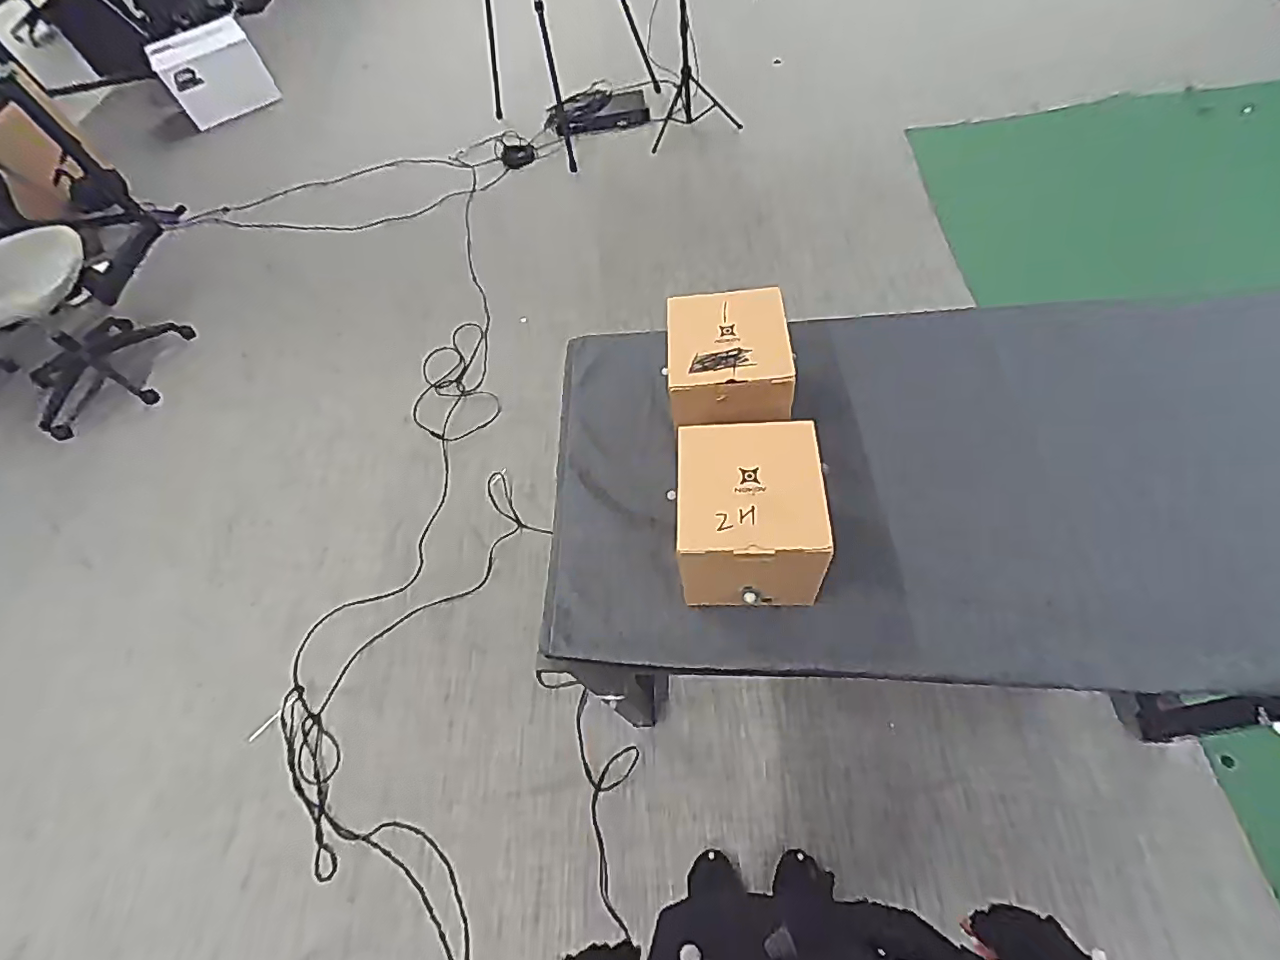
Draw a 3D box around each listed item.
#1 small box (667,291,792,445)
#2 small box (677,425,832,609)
[{"bbox_3d":[0.130,-0.152,0.810,0.168,0.176,0.179,-3,58,7],"label":"small box"},{"bbox_3d":[0.135,0.050,0.686,0.168,0.176,0.179,-2,58,8],"label":"small box"}]
